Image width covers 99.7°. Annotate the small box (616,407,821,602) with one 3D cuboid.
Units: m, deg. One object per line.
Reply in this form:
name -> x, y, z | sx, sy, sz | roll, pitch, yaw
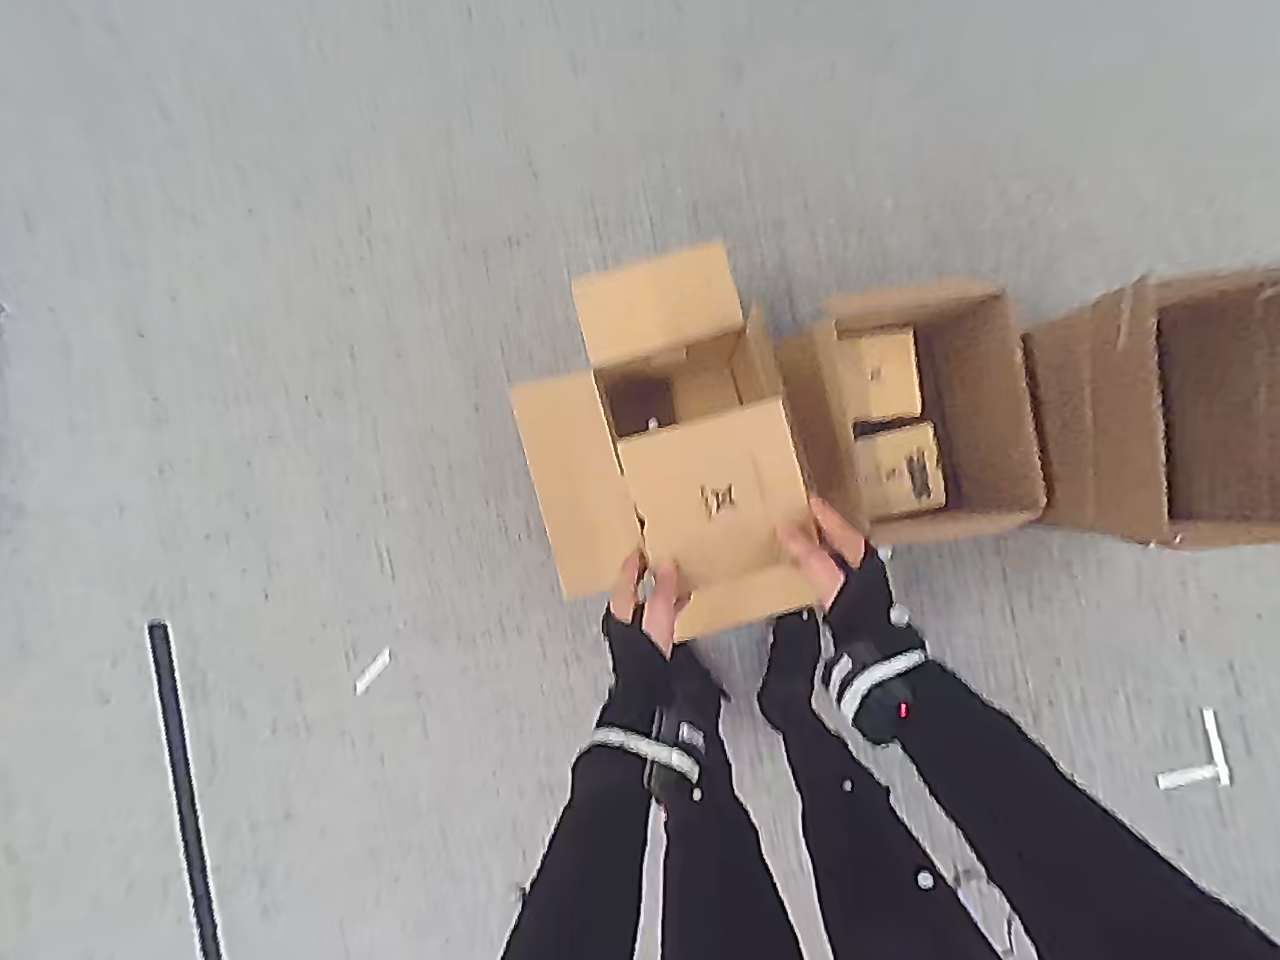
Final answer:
small box -> 0.081, 0.023, 0.619 | 0.179, 0.176, 0.168 | -15, 93, 1
